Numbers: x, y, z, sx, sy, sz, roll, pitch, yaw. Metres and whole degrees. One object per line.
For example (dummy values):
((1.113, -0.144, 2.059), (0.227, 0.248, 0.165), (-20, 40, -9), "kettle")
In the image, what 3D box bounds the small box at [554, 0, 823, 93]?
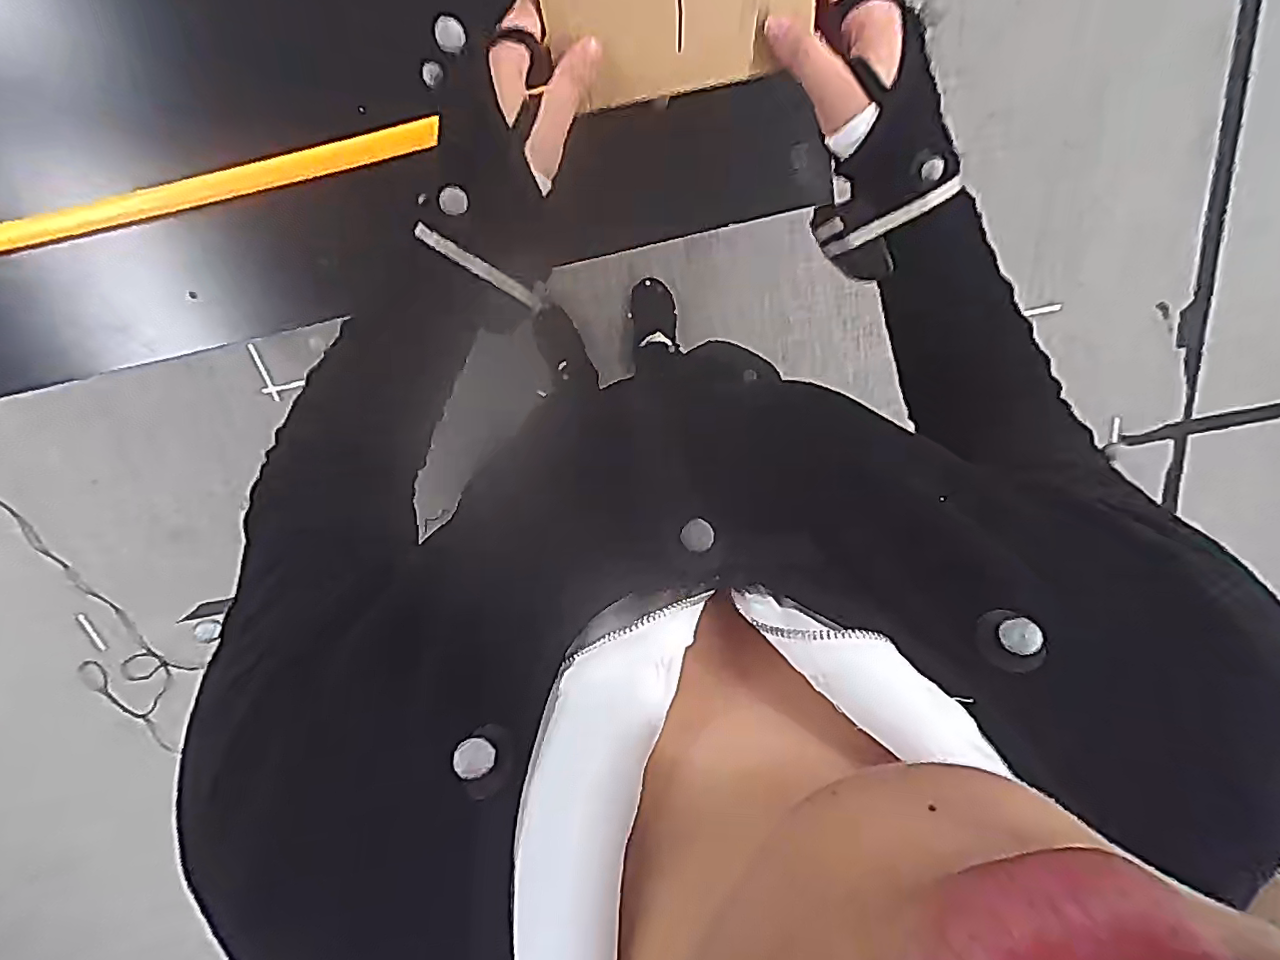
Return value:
((0.016, -0.381, 0.354), (0.168, 0.176, 0.179), (-10, 132, 4), "small box")
